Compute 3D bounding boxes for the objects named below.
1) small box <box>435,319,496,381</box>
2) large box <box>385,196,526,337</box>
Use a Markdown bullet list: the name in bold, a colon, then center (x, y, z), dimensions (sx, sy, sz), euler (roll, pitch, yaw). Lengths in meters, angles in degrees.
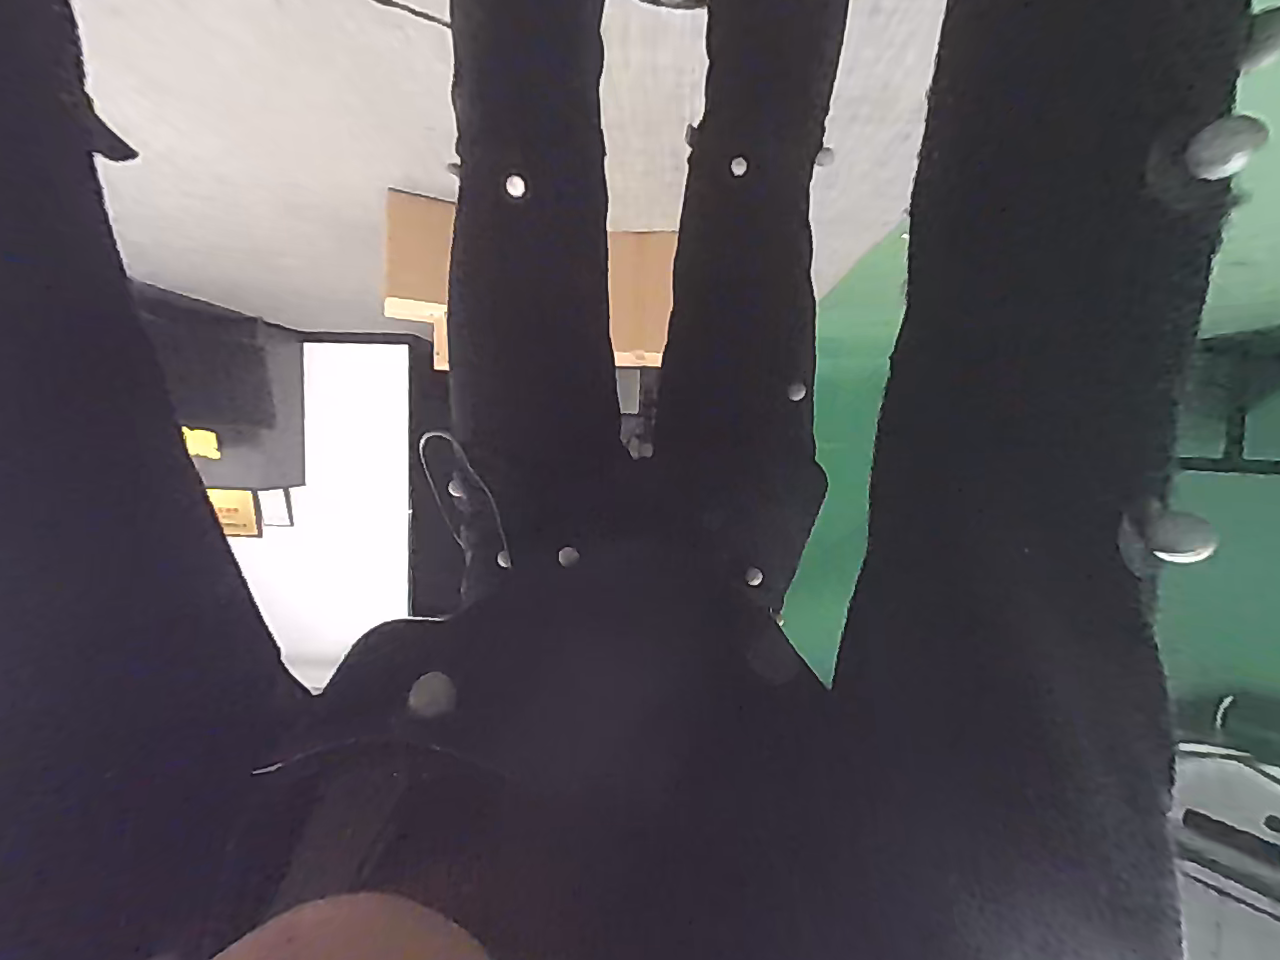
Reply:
- **small box**: center (-0.587, -0.433, 1.819), dimensions (0.168, 0.176, 0.179), euler (0, -175, -30)
- **large box**: center (-0.612, -0.676, 1.777), dimensions (0.408, 0.320, 0.320), euler (2, -177, -26)
